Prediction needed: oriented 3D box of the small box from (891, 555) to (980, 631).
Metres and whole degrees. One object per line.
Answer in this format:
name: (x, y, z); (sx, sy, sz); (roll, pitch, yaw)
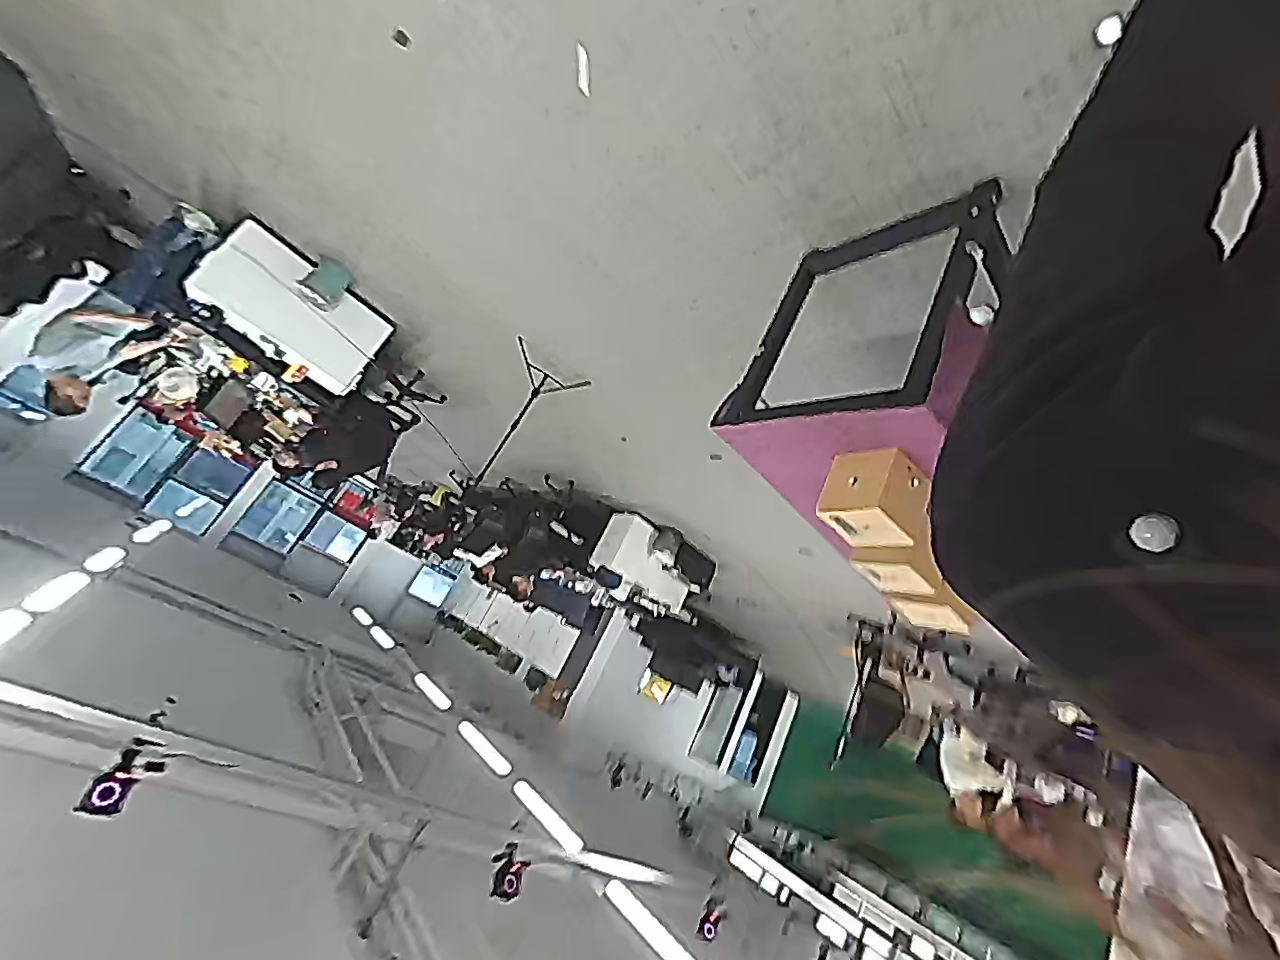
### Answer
small box: (0.892, 0.327, 1.620); (0.168, 0.176, 0.179); (39, 158, -29)

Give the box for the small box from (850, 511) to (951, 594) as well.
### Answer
small box: (0.727, 0.194, 1.504); (0.168, 0.176, 0.179); (37, 158, -26)
